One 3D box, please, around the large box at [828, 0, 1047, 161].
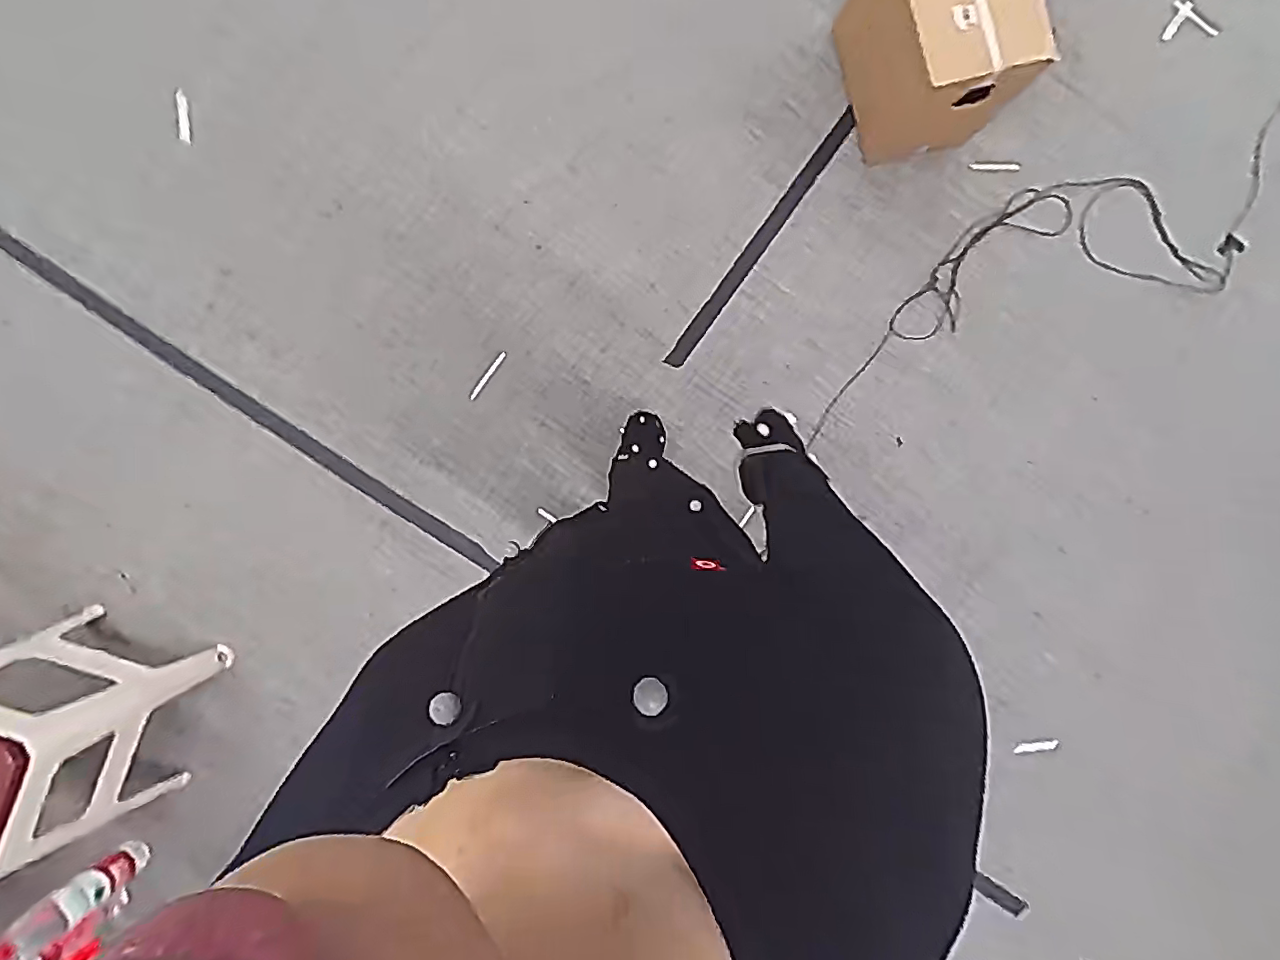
[{"bbox_3d":[0.732,-1.125,1.382,0.320,0.320,0.408,-16,92,-3],"label":"large box"}]
